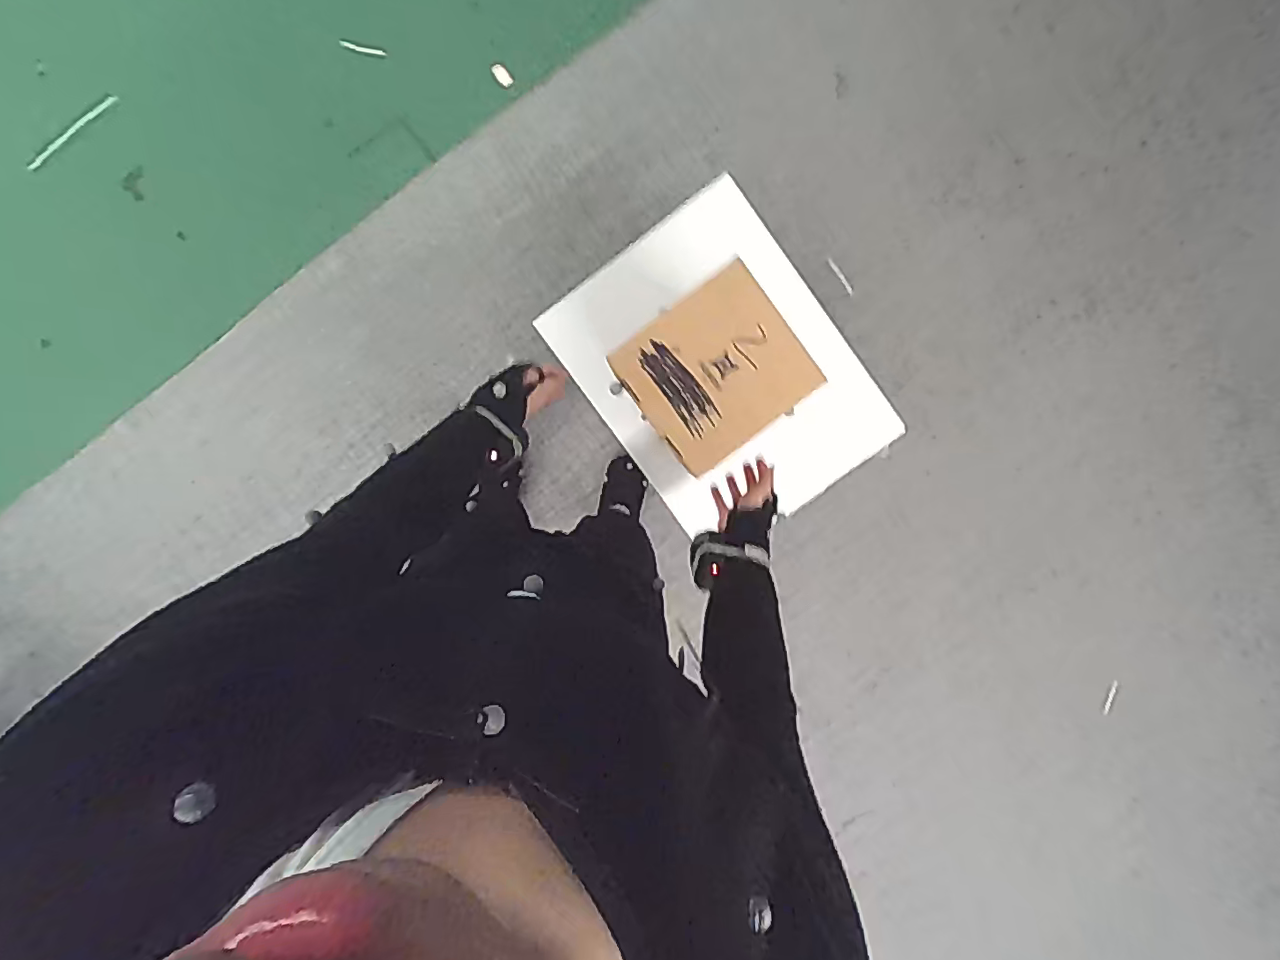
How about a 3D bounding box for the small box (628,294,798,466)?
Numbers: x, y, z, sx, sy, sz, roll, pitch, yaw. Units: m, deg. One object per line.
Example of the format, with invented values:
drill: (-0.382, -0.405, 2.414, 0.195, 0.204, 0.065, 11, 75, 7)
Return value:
small box: (0.095, -0.139, 0.798, 0.179, 0.176, 0.168, -35, 93, 2)
